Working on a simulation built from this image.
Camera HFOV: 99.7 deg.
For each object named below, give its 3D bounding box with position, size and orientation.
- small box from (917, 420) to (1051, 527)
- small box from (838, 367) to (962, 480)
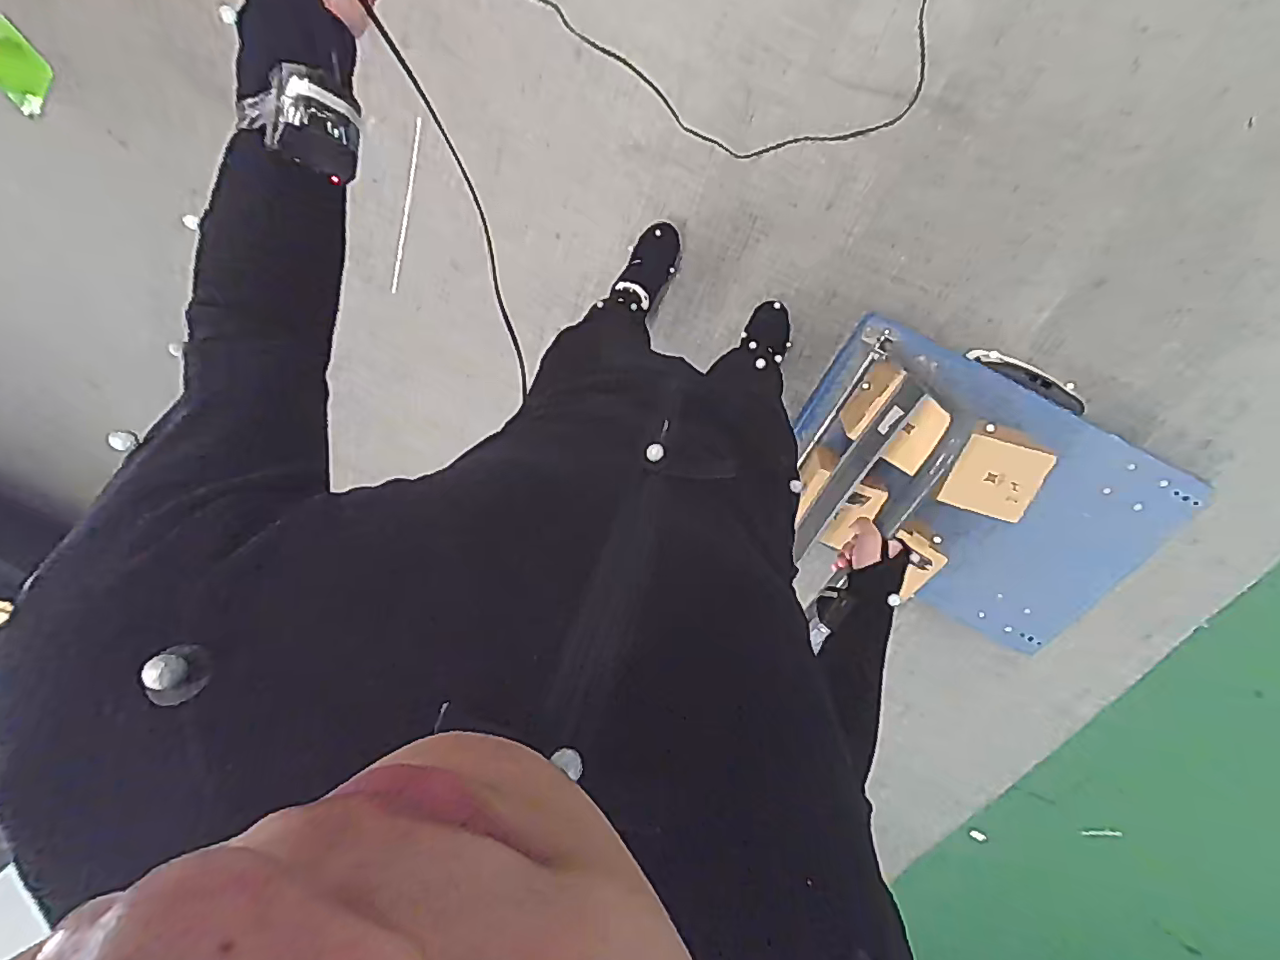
[{"bbox_3d":[0.756,-0.024,1.215,0.179,0.176,0.168,17,116,6],"label":"small box"},{"bbox_3d":[0.571,-0.135,1.216,0.179,0.176,0.168,32,117,-1],"label":"small box"}]
